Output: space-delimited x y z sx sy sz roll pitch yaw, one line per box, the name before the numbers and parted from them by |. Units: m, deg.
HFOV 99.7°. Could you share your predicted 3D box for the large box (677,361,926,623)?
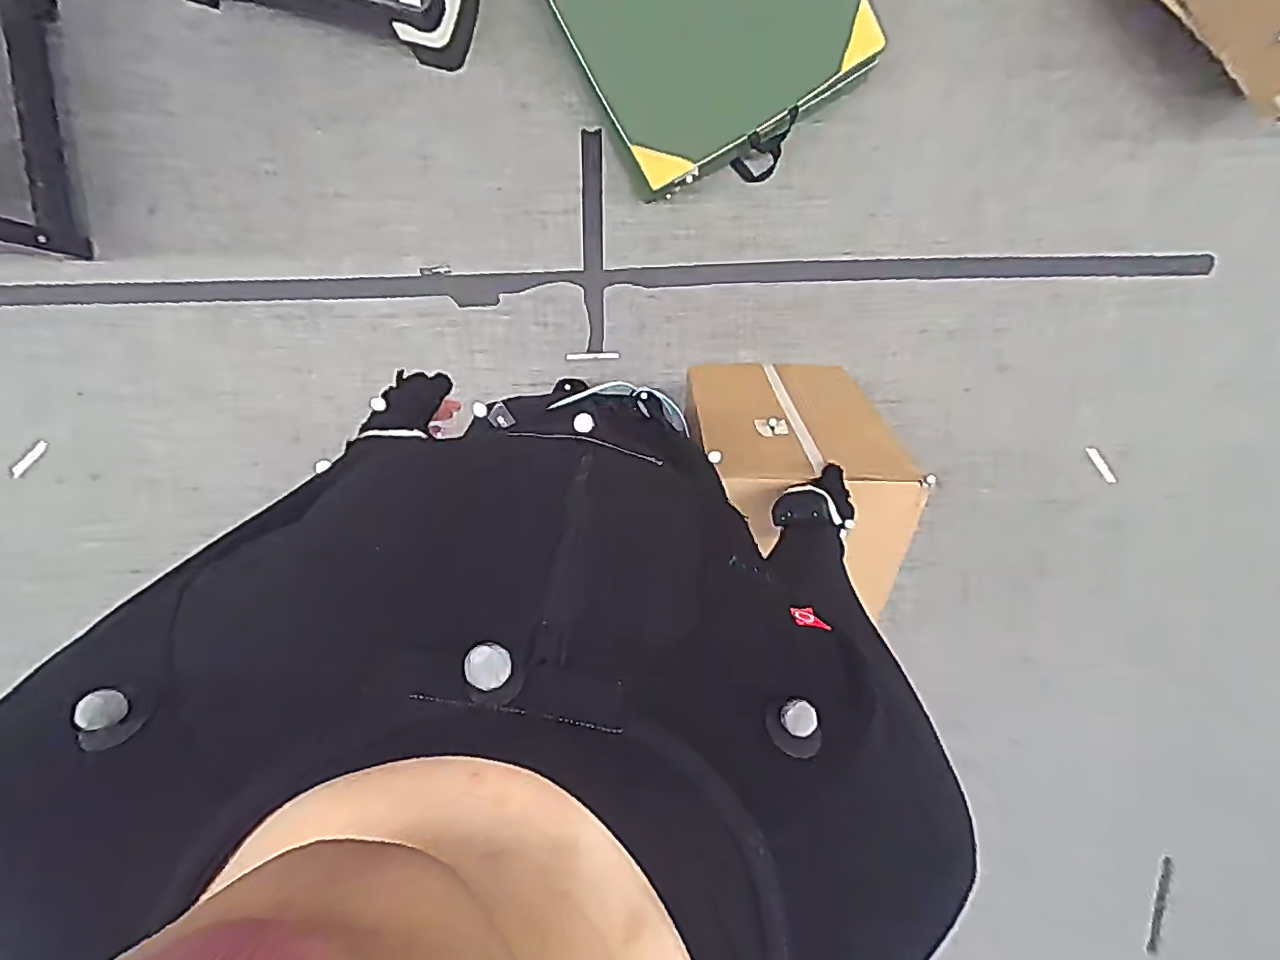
large box | 0.245 0.008 1.005 0.320 0.408 0.320 0 127 -1
